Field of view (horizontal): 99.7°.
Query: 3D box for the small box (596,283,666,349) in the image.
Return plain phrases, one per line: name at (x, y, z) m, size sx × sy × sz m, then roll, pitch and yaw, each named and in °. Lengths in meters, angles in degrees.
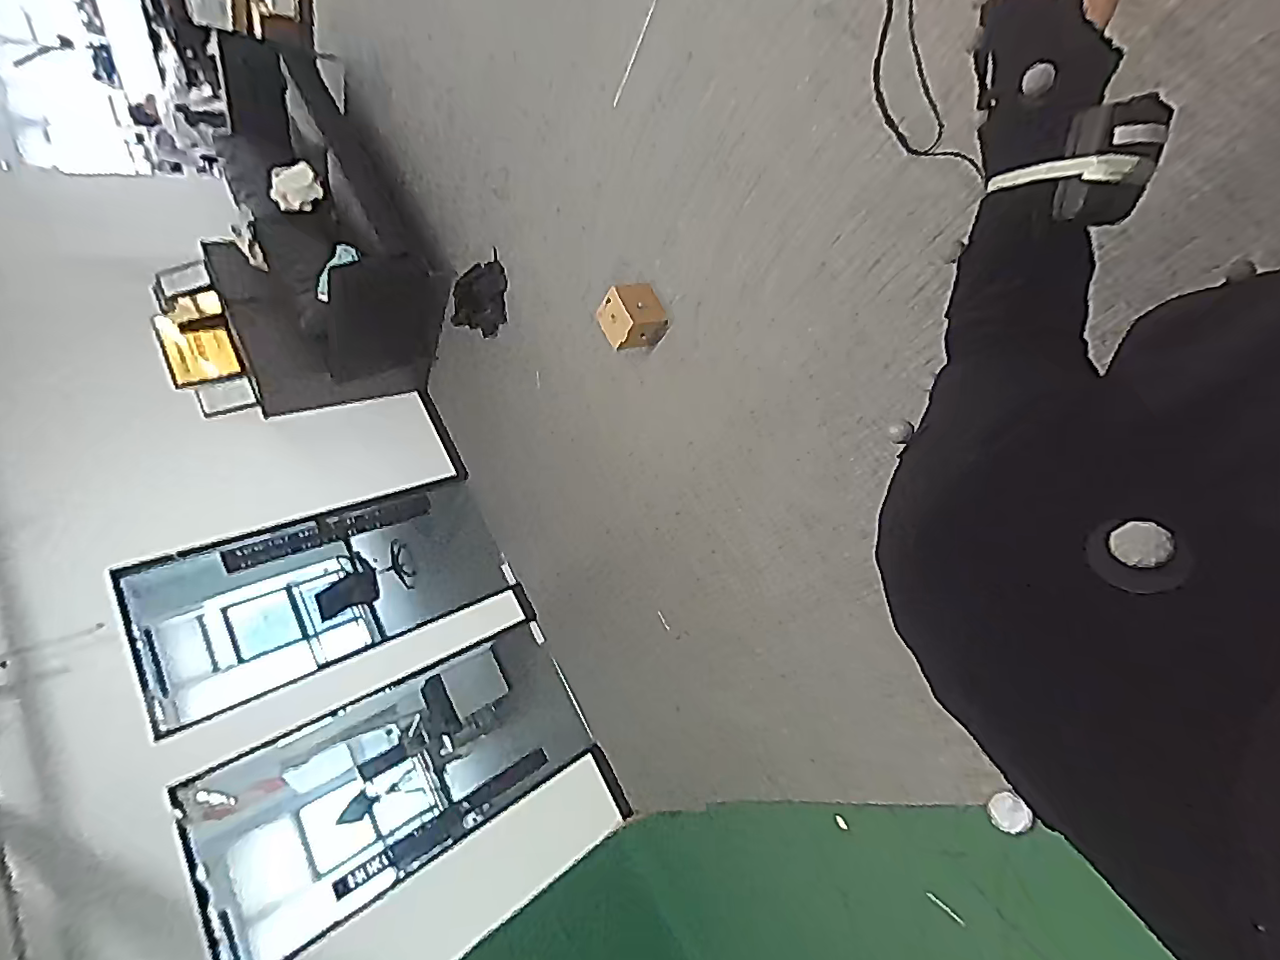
small box at (-0.033, -0.621, 2.034) m, size 0.179 × 0.176 × 0.168 m, roll 61°, pitch 143°, yaw 11°
